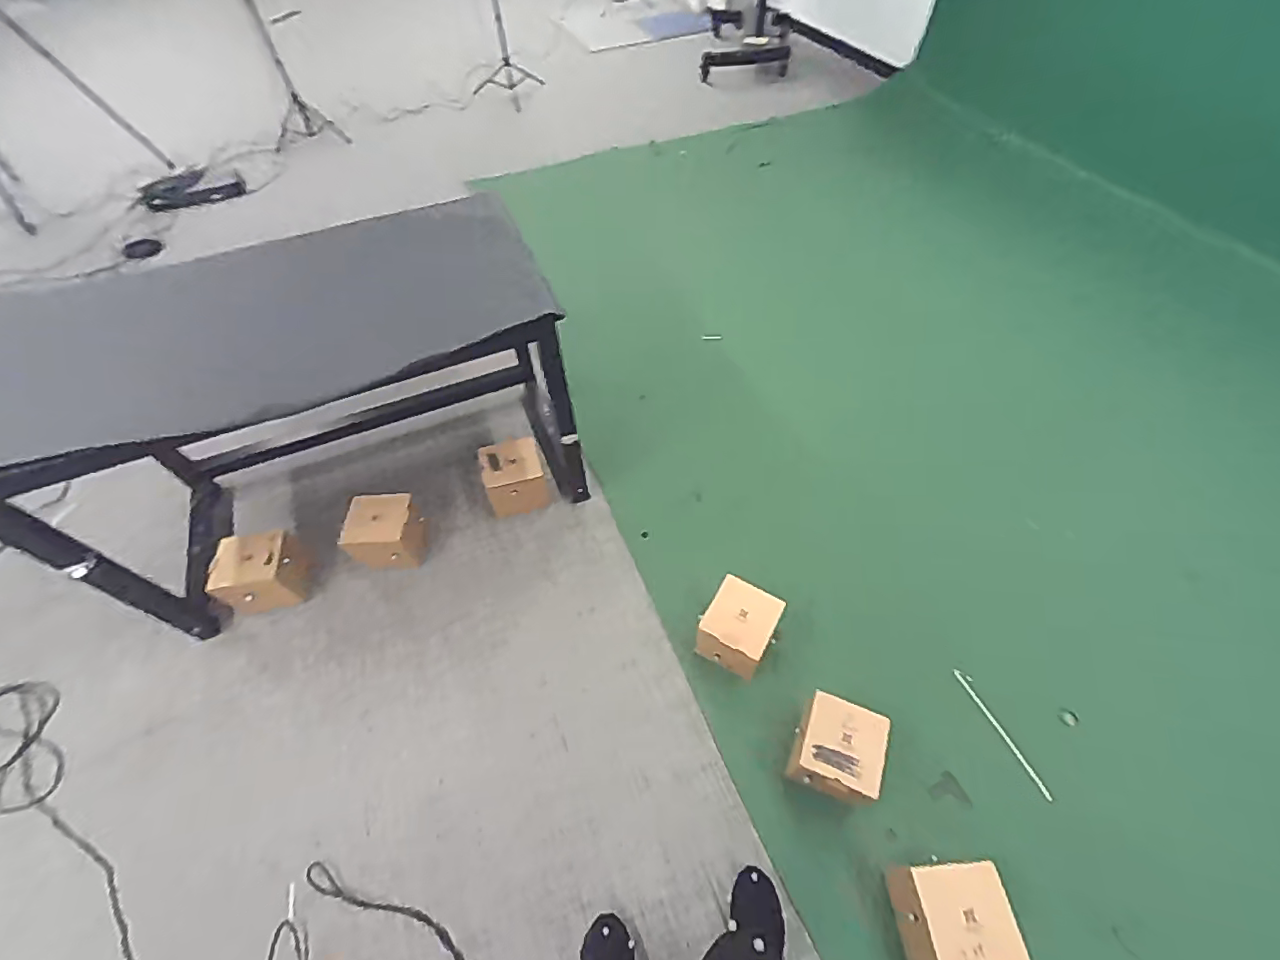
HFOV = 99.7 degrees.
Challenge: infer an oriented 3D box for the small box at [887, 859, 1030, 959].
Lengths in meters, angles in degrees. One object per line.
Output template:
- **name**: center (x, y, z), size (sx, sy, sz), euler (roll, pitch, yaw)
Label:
- **small box**: center (0.613, 0.859, 1.061), size (0.168, 0.176, 0.179), euler (-4, 55, 0)

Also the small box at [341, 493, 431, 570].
- **small box**: center (-0.751, 0.157, 1.621), size (0.179, 0.176, 0.168), euler (-4, 54, 1)

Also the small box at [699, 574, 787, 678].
- **small box**: center (0.262, 0.385, 1.419), size (0.168, 0.176, 0.179), euler (26, 60, 19)

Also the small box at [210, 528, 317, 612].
- **small box**: center (-1.075, 0.264, 1.557), size (0.179, 0.176, 0.168), euler (-11, 55, -4)

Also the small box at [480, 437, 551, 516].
- **small box**: center (-0.393, -0.006, 1.723), size (0.179, 0.176, 0.168), euler (-15, 56, -10)
